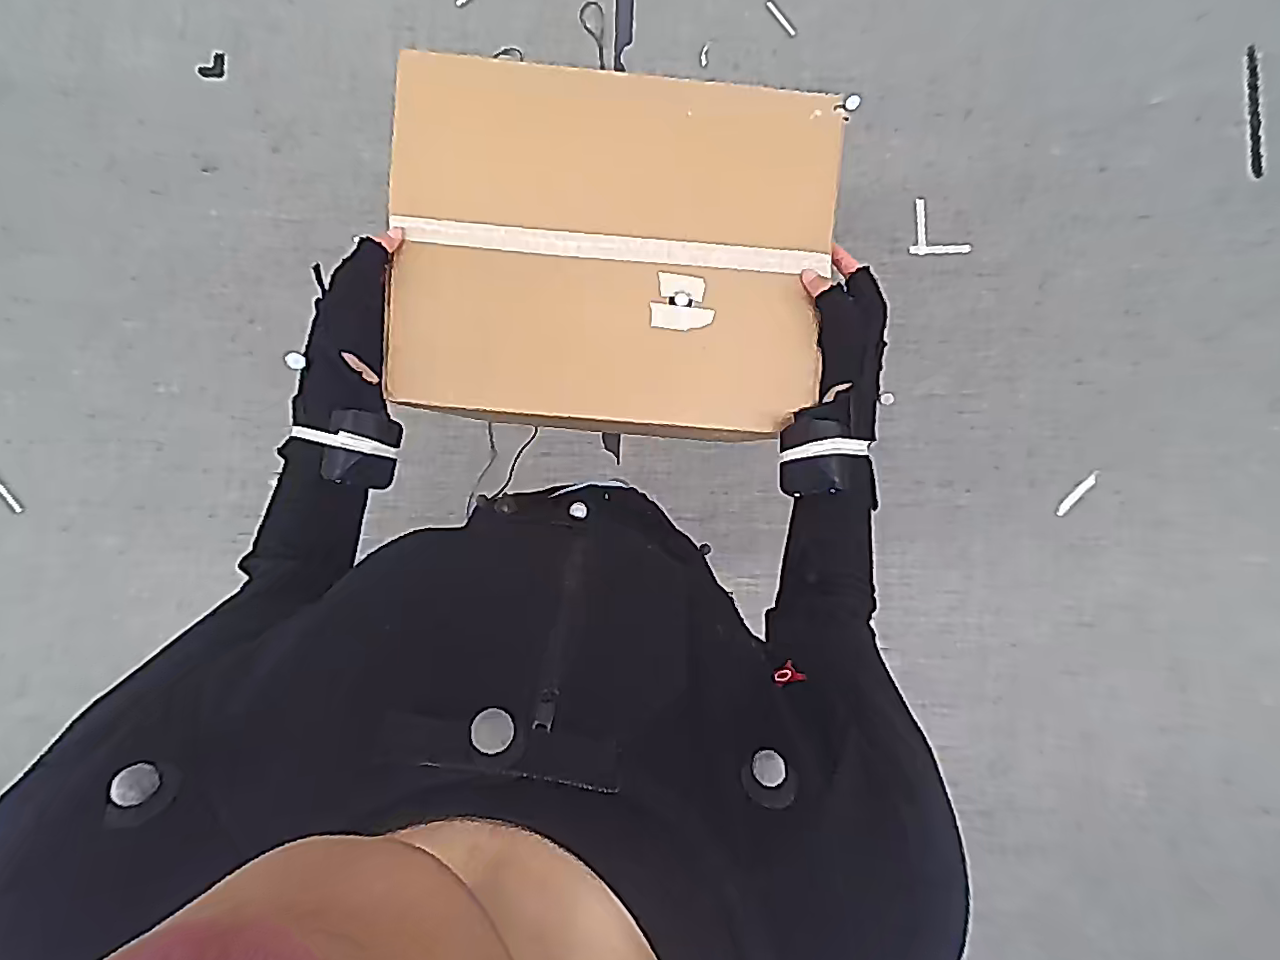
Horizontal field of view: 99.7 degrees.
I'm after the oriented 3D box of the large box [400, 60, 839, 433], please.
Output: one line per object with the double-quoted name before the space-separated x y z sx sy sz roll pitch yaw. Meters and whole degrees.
"large box" -0.027 -0.228 0.659 0.408 0.320 0.320 5 94 -3
